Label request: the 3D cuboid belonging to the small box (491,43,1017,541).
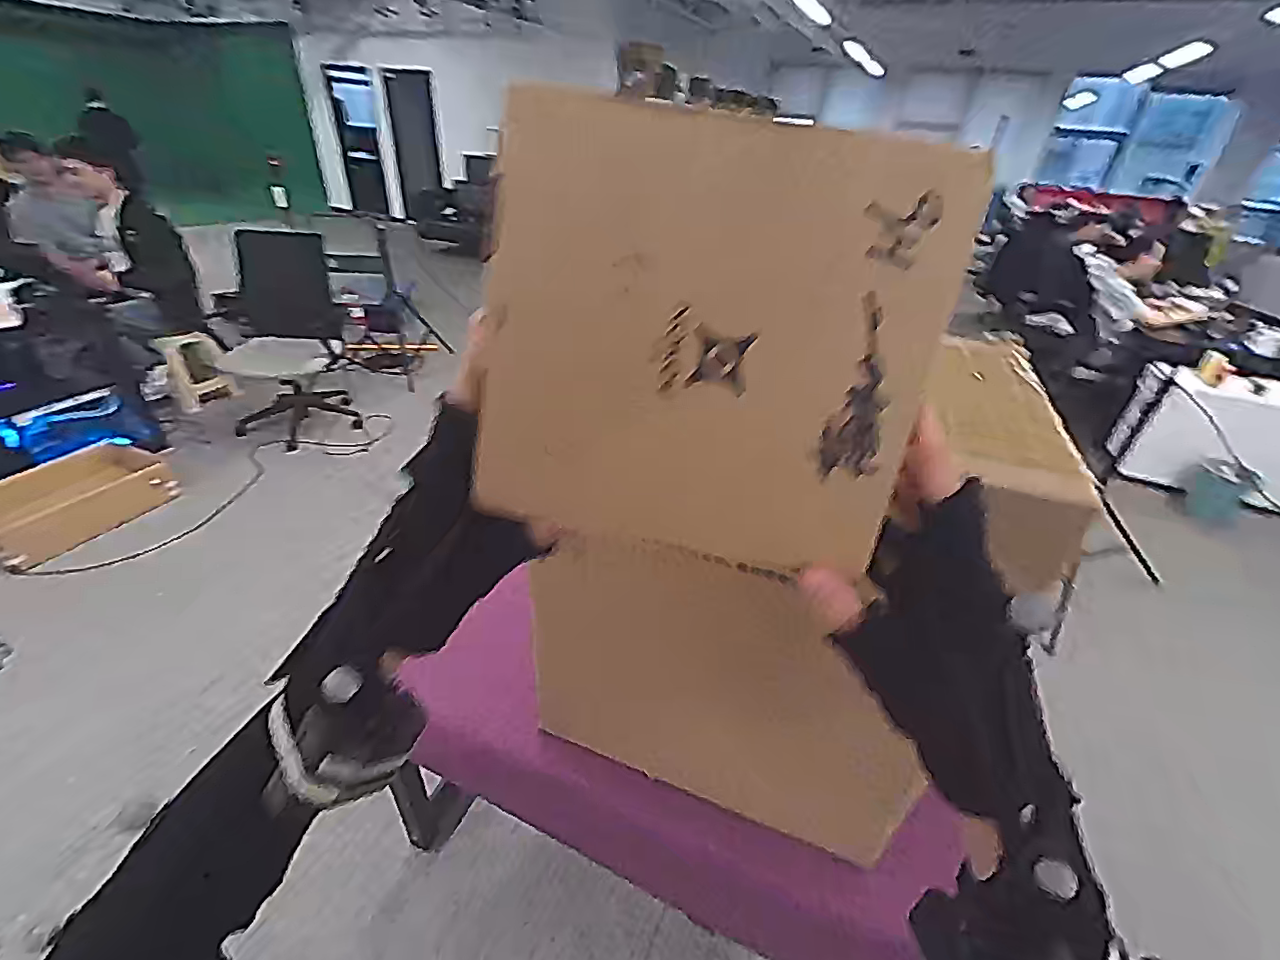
[{"bbox_3d":[0.042,-0.088,0.289,0.179,0.168,0.176,11,17,5],"label":"small box"}]
